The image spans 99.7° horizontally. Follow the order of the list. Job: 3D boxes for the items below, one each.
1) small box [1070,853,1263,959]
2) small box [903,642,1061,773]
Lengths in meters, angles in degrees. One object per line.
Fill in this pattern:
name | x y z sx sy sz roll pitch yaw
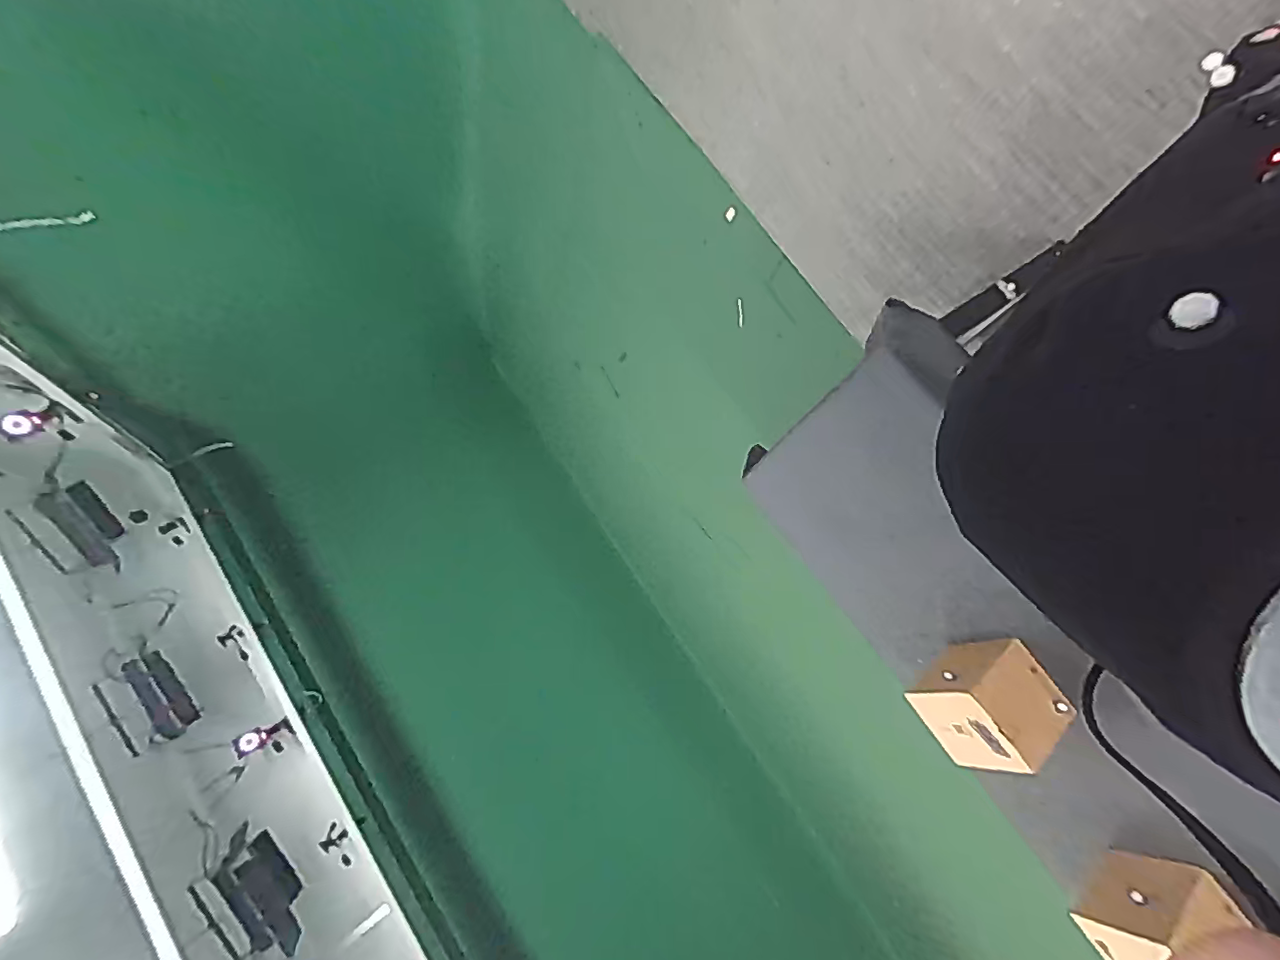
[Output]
small box | 0.939 0.810 0.964 0.168 0.176 0.179 55 154 12
small box | 0.666 0.432 1.048 0.168 0.176 0.179 54 155 10
